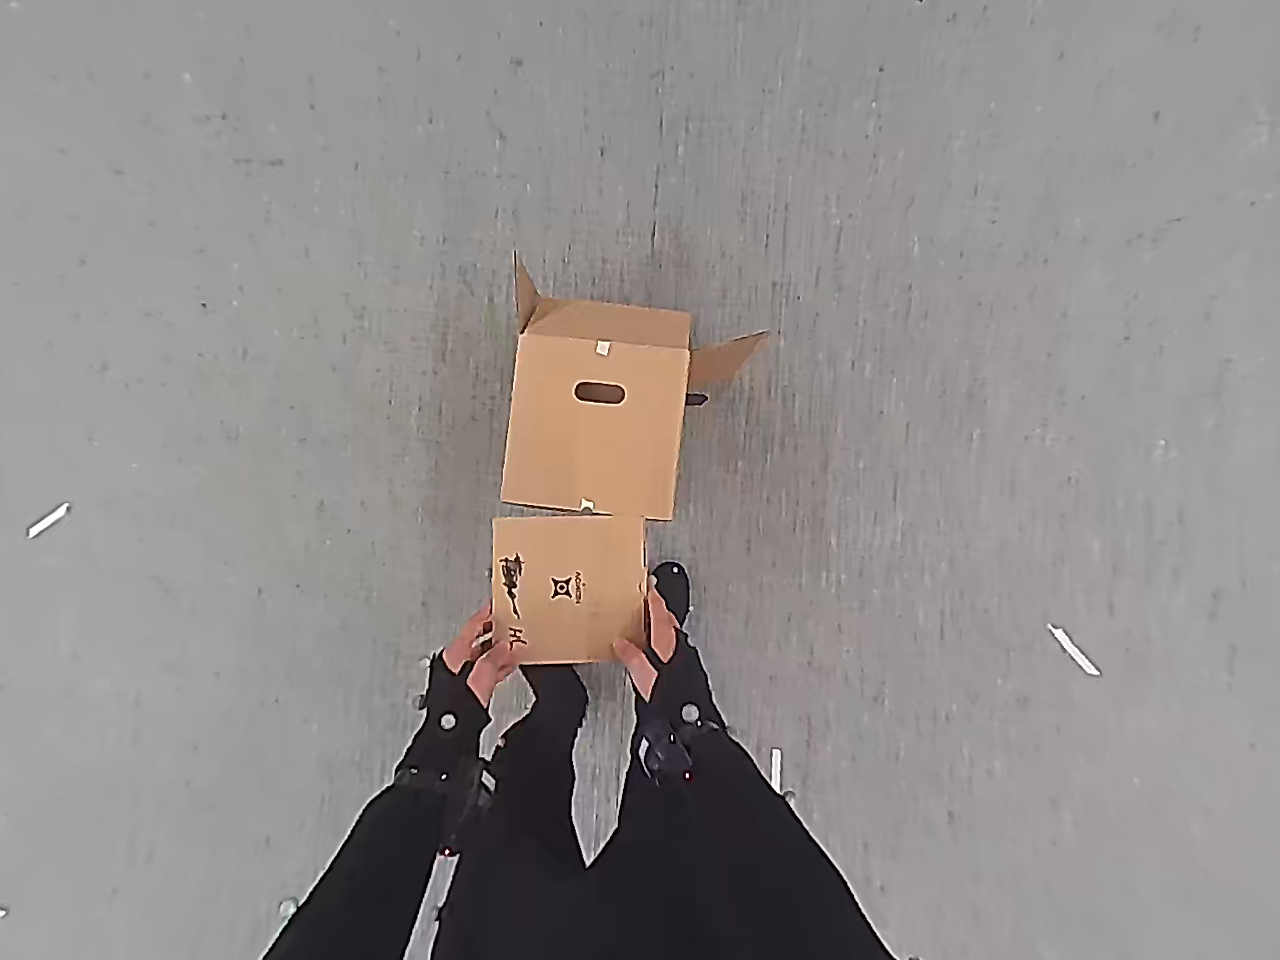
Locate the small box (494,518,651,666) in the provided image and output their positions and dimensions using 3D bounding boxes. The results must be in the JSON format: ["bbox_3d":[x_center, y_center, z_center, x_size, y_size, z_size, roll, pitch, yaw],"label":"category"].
[{"bbox_3d":[-0.079,0.132,0.689,0.179,0.176,0.168,0,84,-3],"label":"small box"}]
